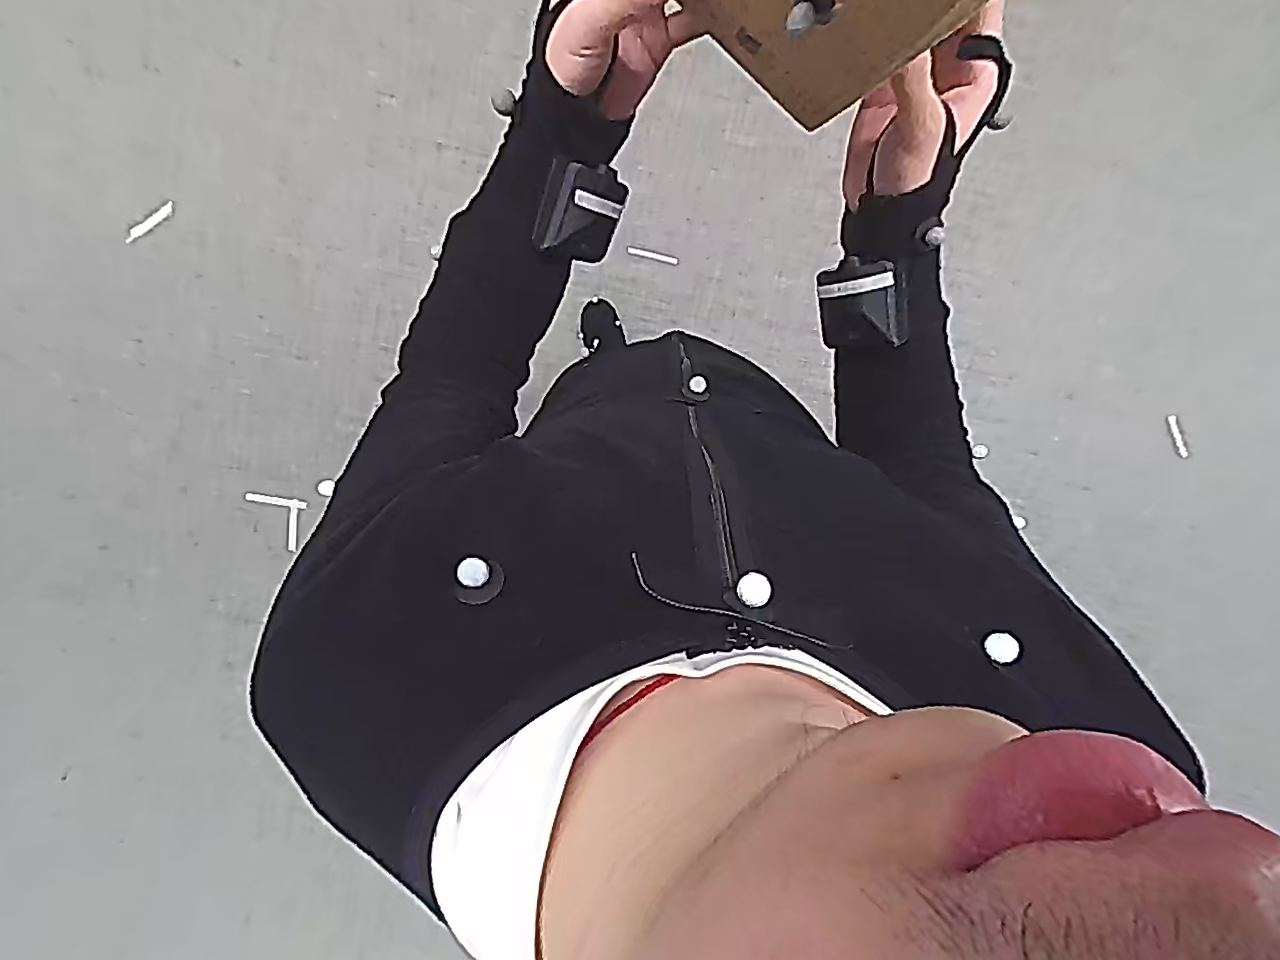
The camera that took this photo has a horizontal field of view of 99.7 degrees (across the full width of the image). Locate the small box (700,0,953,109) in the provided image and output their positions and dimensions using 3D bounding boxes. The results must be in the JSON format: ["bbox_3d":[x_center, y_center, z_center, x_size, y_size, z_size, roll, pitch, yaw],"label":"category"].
[{"bbox_3d":[0.098,-0.305,0.223,0.168,0.176,0.179,33,100,-17],"label":"small box"}]
